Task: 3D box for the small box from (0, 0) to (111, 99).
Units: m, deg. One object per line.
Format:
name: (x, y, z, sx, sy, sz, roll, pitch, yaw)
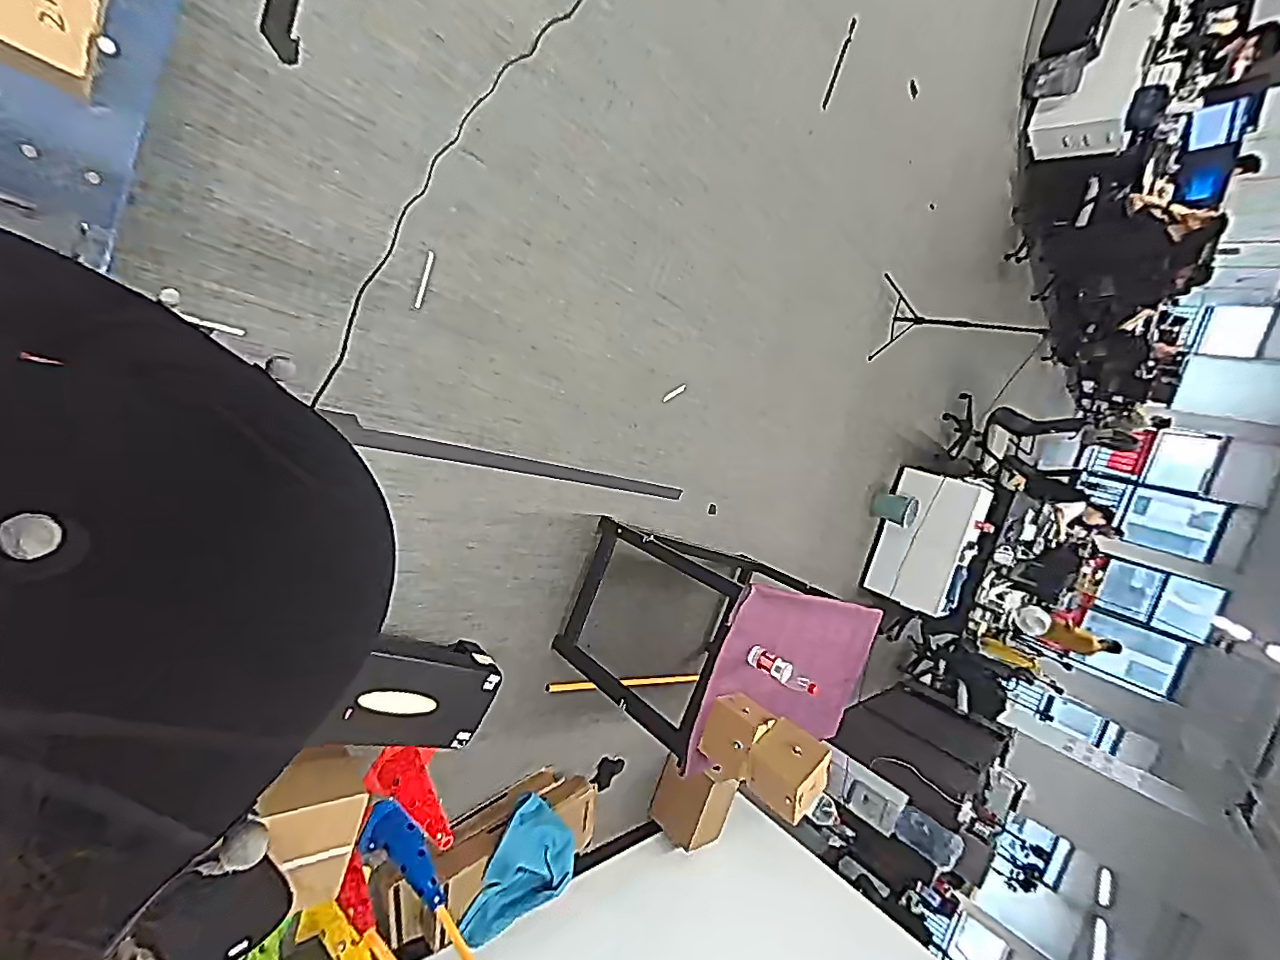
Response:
small box: (-0.841, -0.649, 0.719, 0.179, 0.176, 0.168, 12, 98, -46)
